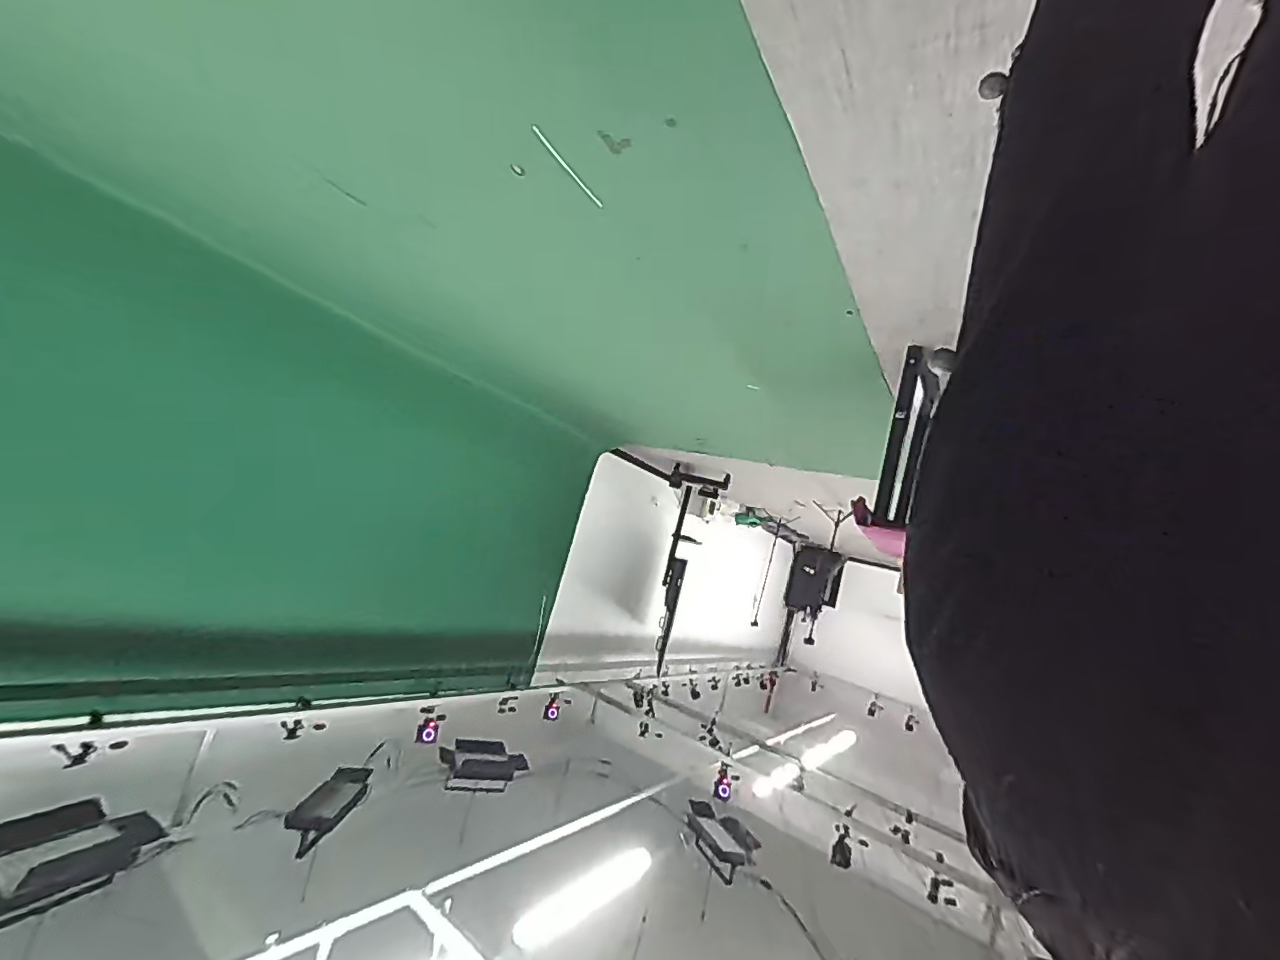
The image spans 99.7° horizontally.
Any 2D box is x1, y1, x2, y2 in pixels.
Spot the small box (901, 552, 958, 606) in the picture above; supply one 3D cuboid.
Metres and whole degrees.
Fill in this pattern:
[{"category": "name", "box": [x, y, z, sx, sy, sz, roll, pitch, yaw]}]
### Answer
[{"category": "small box", "box": [1.162, 0.396, 2.165, 0.168, 0.176, 0.179, 8, 168, 38]}]
